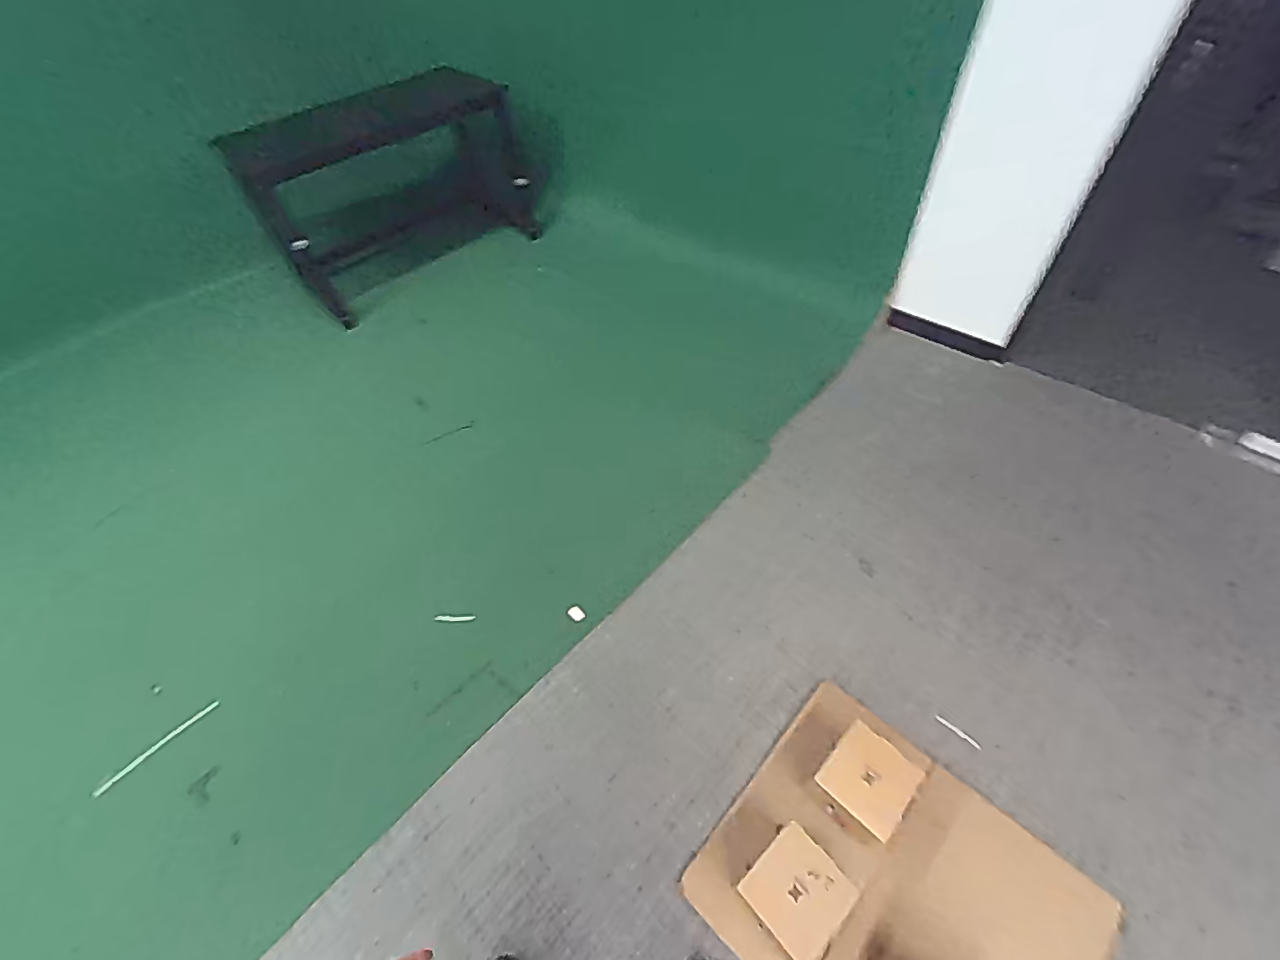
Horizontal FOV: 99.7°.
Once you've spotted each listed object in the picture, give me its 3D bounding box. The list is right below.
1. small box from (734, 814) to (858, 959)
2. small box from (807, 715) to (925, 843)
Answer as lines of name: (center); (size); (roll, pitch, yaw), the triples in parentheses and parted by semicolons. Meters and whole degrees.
small box: (0.306, 0.824, 1.095); (0.179, 0.176, 0.168); (-35, 57, -22)
small box: (0.491, 0.669, 1.204); (0.179, 0.176, 0.168); (-39, 58, -24)
